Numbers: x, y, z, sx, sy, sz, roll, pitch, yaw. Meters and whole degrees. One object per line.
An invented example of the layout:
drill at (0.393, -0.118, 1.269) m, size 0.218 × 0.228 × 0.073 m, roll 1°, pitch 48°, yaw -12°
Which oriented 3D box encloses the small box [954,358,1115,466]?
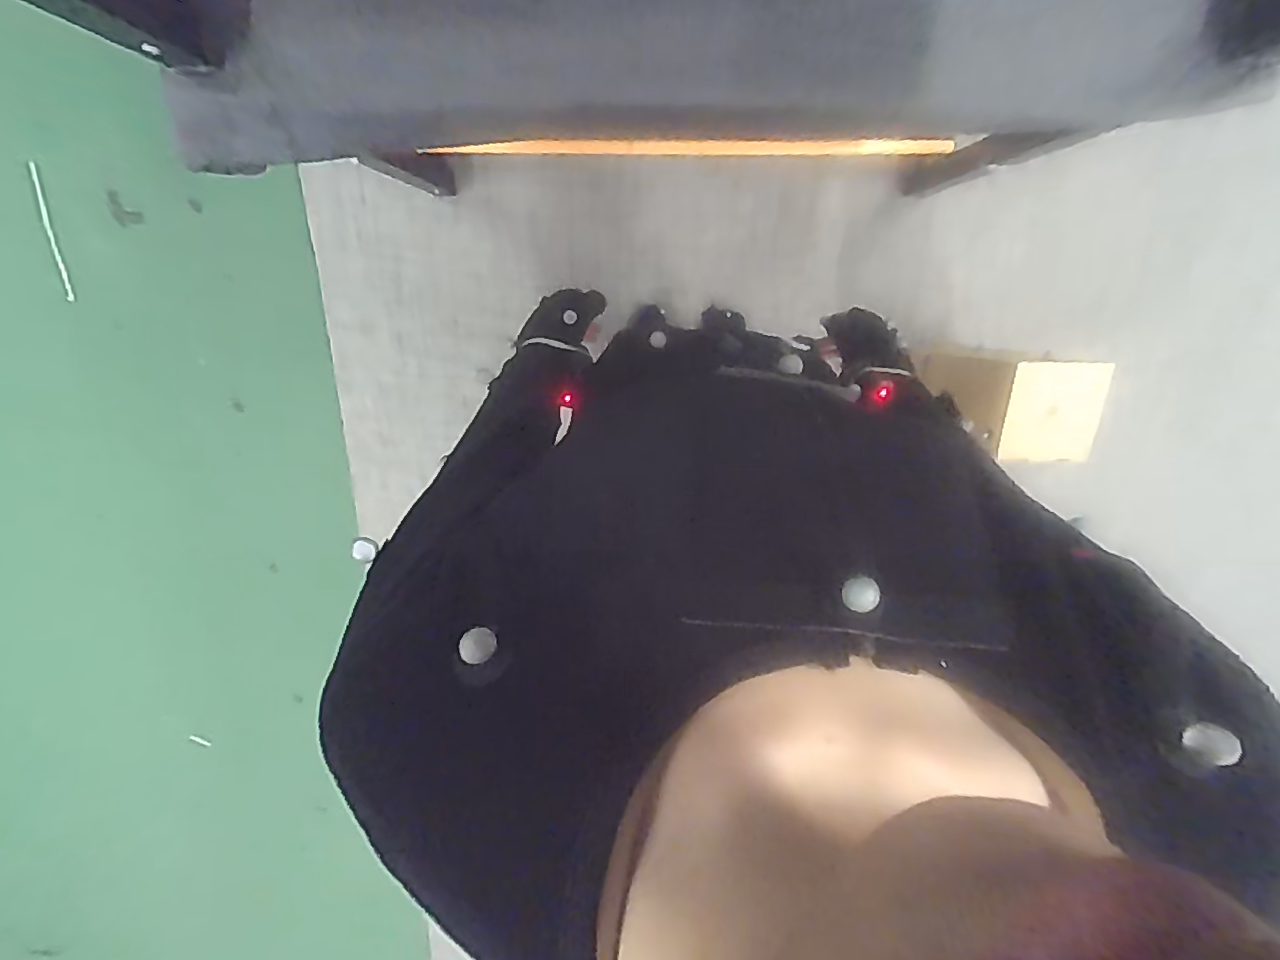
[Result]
small box at (0.720, -0.133, 1.011) m, size 0.168 × 0.176 × 0.179 m, roll 1°, pitch 109°, yaw 2°

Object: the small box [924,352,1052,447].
small box at (0.739, -0.178, 1.167) m, size 0.168 × 0.176 × 0.179 m, roll -2°, pitch 108°, yaw 3°
